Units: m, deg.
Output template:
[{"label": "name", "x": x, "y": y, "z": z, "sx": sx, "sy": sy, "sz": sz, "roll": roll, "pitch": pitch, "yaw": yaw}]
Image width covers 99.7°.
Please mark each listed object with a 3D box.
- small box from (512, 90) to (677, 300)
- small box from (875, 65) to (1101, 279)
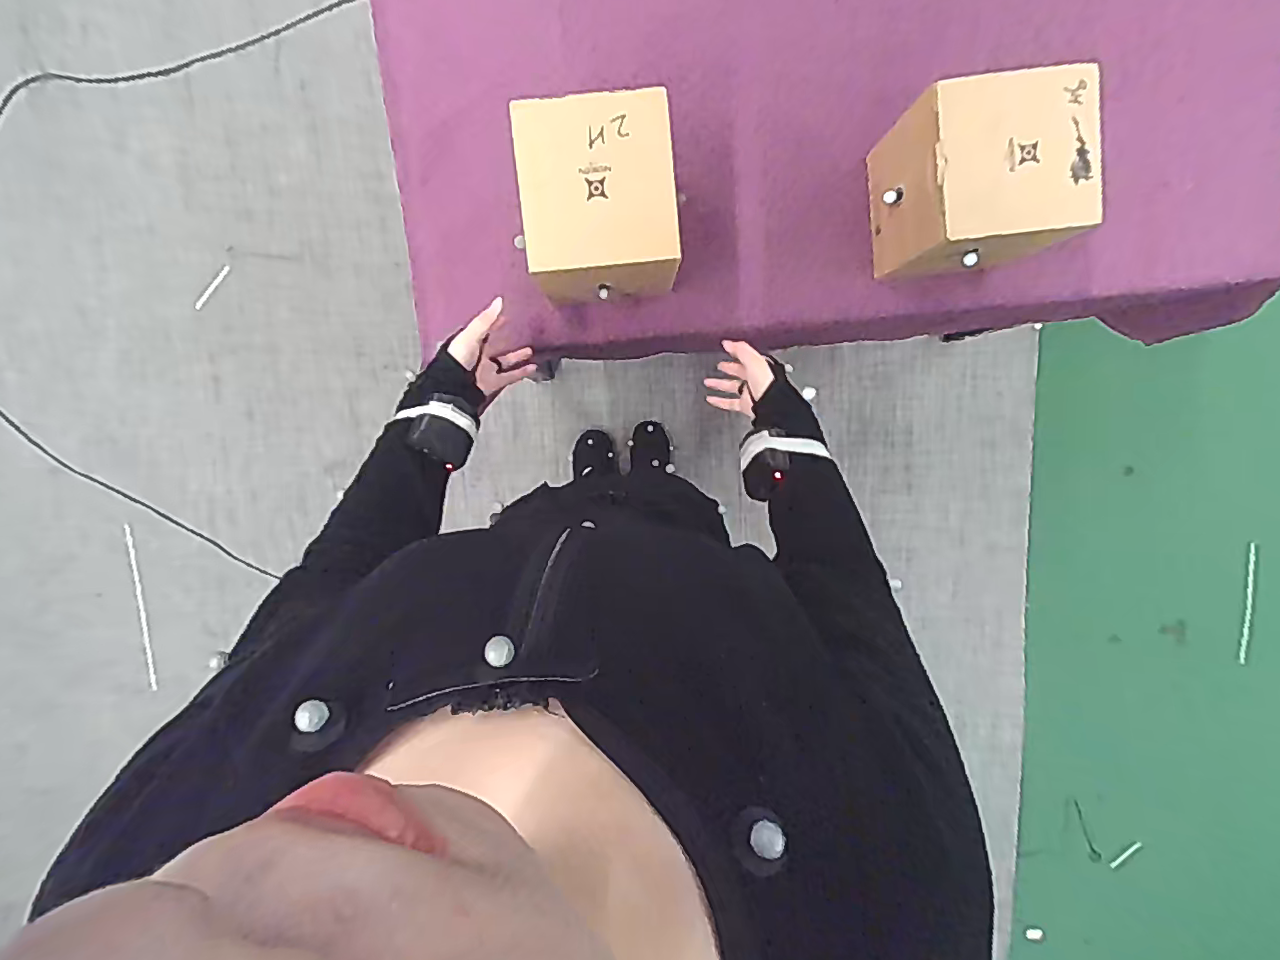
[{"label": "small box", "x": -0.047, "y": -0.321, "z": 0.648, "sx": 0.168, "sy": 0.176, "sz": 0.179, "roll": -5, "pitch": 96, "yaw": -1}, {"label": "small box", "x": 0.399, "y": -0.352, "z": 0.652, "sx": 0.179, "sy": 0.176, "sz": 0.168, "roll": -6, "pitch": 96, "yaw": 0}]
